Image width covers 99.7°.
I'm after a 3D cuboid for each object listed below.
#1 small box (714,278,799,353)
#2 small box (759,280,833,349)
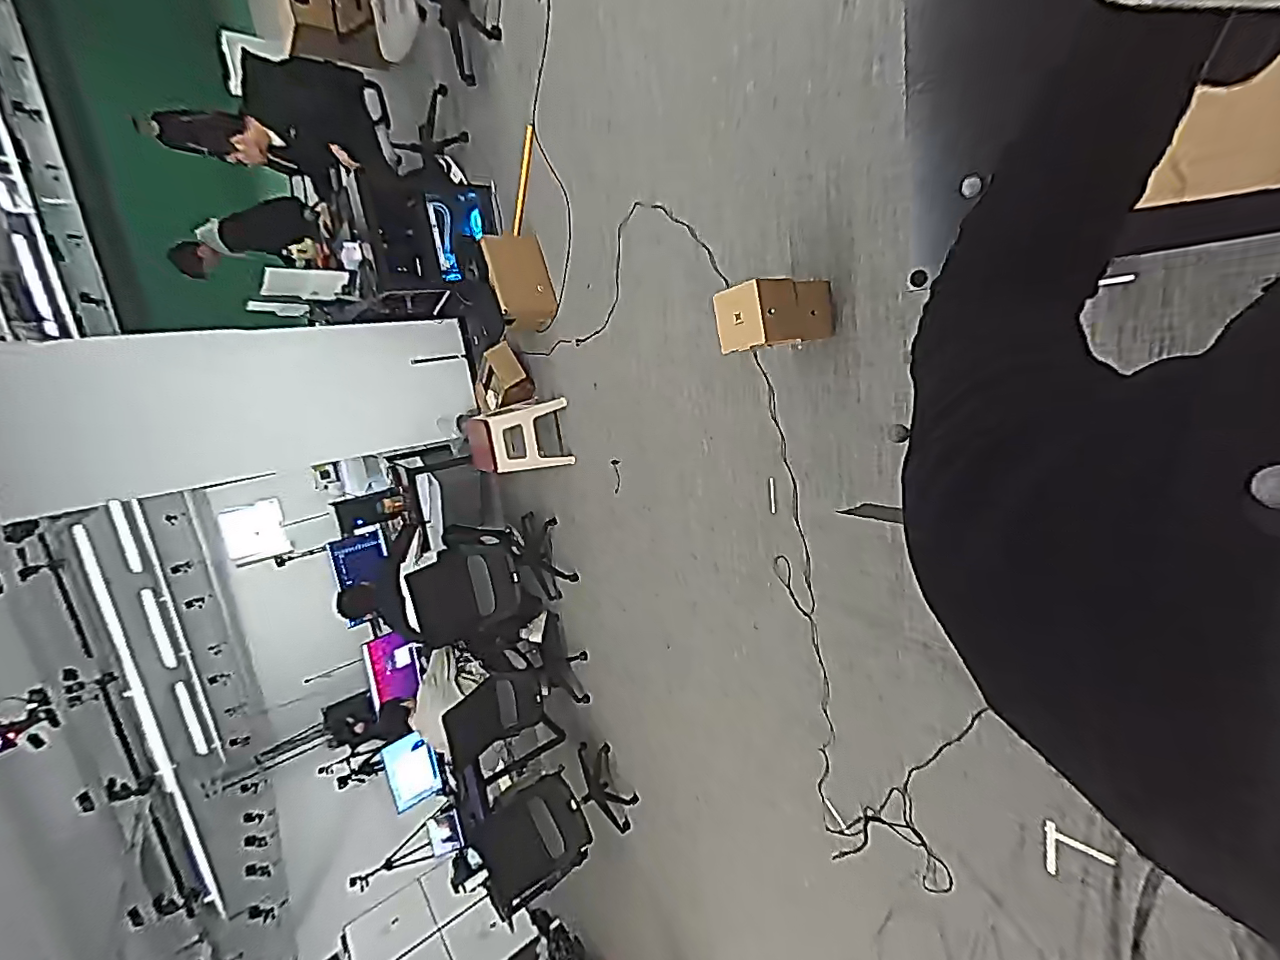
[{"bbox_3d":[0.341,-0.476,1.565,0.168,0.176,0.179,-1,101,53],"label":"small box"},{"bbox_3d":[0.470,-0.508,1.659,0.168,0.176,0.179,4,107,53],"label":"small box"}]
